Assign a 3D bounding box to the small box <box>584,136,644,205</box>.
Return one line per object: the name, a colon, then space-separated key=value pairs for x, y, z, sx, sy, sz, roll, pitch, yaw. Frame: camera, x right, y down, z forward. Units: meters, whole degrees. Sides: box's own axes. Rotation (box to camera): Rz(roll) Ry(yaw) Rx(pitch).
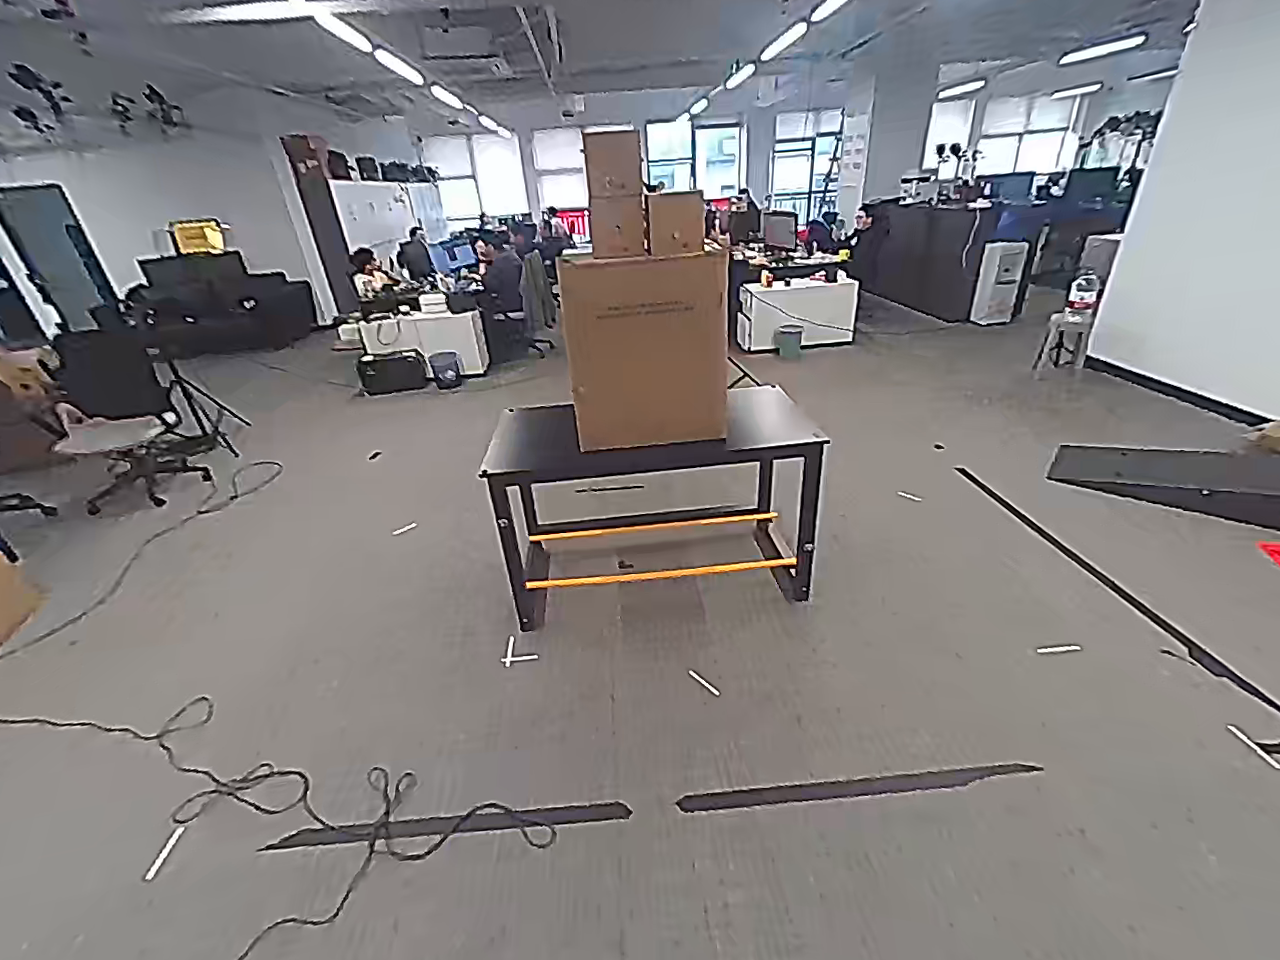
small box: x=-0.078 y=-0.935 z=1.640 sx=0.168 sy=0.176 sz=0.179 roll=-6 pitch=30 yaw=-2
